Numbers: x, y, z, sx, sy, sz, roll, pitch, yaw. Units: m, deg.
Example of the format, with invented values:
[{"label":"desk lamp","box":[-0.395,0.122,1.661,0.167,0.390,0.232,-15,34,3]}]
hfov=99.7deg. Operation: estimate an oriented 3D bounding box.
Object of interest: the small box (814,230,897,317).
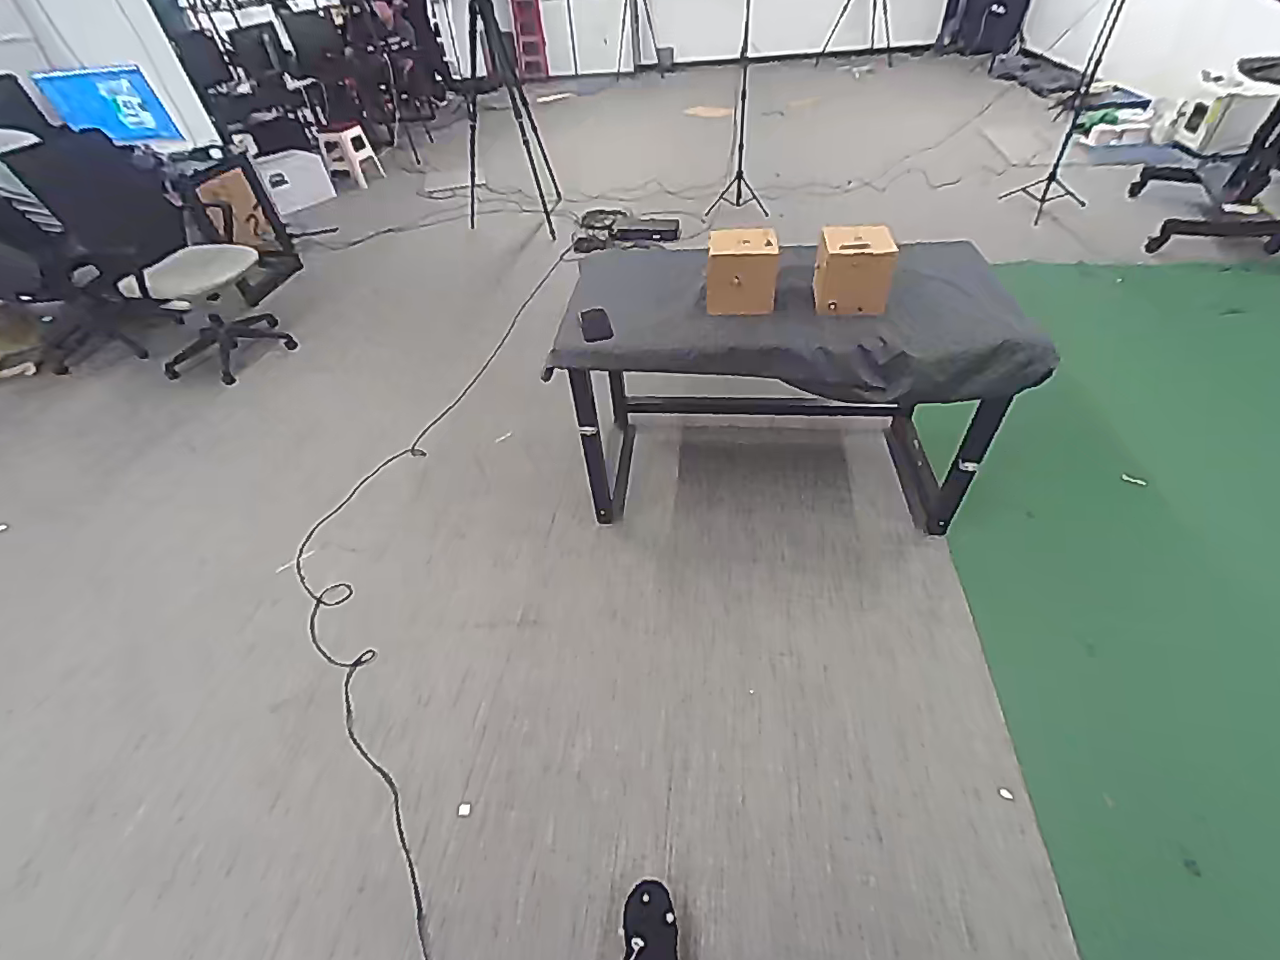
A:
[{"label":"small box","box":[0.563,-0.545,1.435,0.168,0.176,0.179,3,44,8]}]

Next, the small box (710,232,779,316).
[{"label":"small box","box":[0.280,-0.559,1.475,0.179,0.176,0.168,1,45,7]}]
